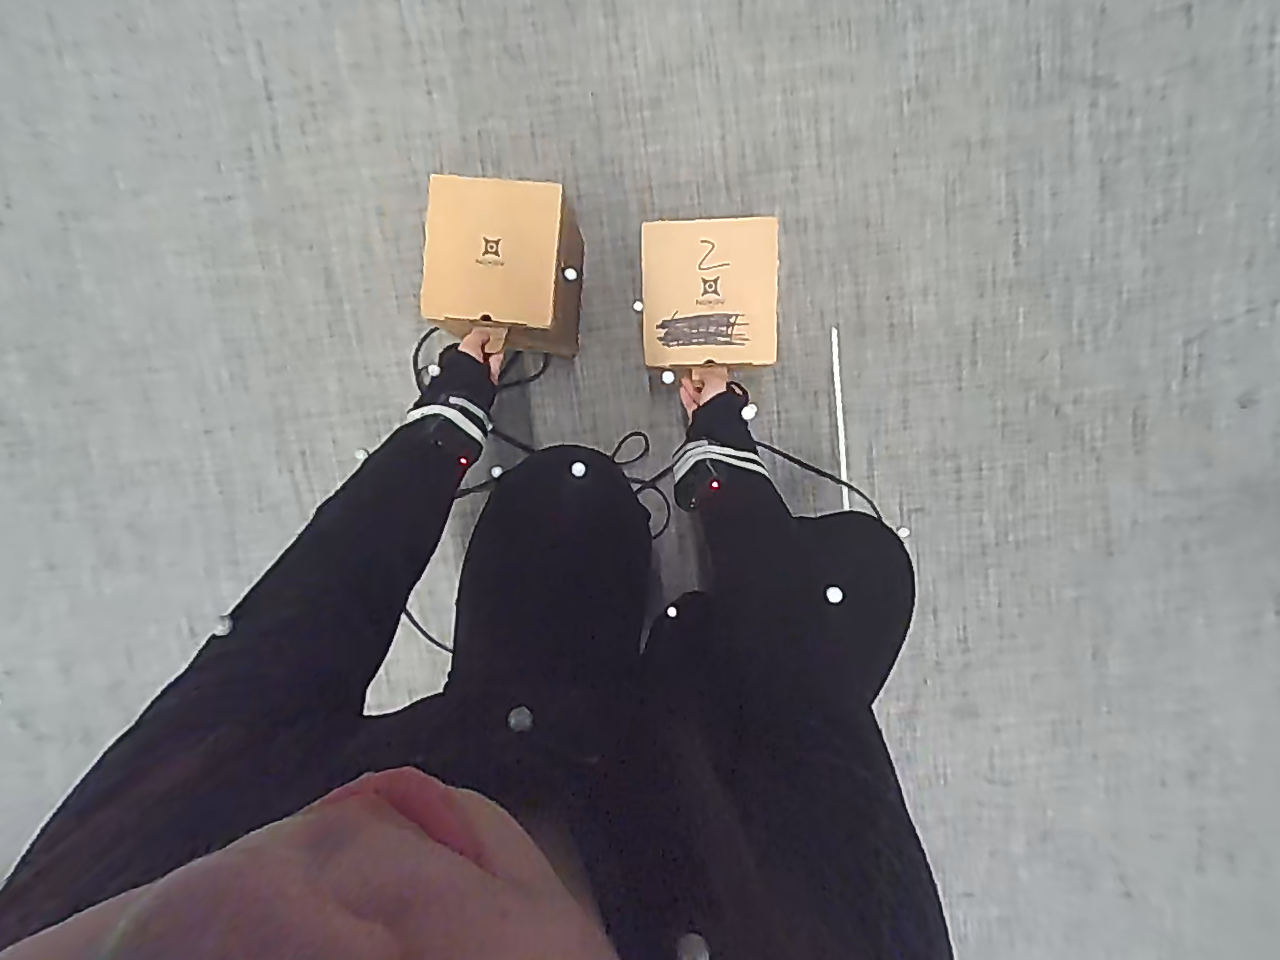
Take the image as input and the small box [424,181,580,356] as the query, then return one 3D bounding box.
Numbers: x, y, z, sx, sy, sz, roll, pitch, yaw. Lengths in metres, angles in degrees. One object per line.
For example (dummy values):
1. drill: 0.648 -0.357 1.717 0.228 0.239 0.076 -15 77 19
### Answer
1. small box: -0.179 -0.280 0.748 0.168 0.176 0.179 5 94 2
